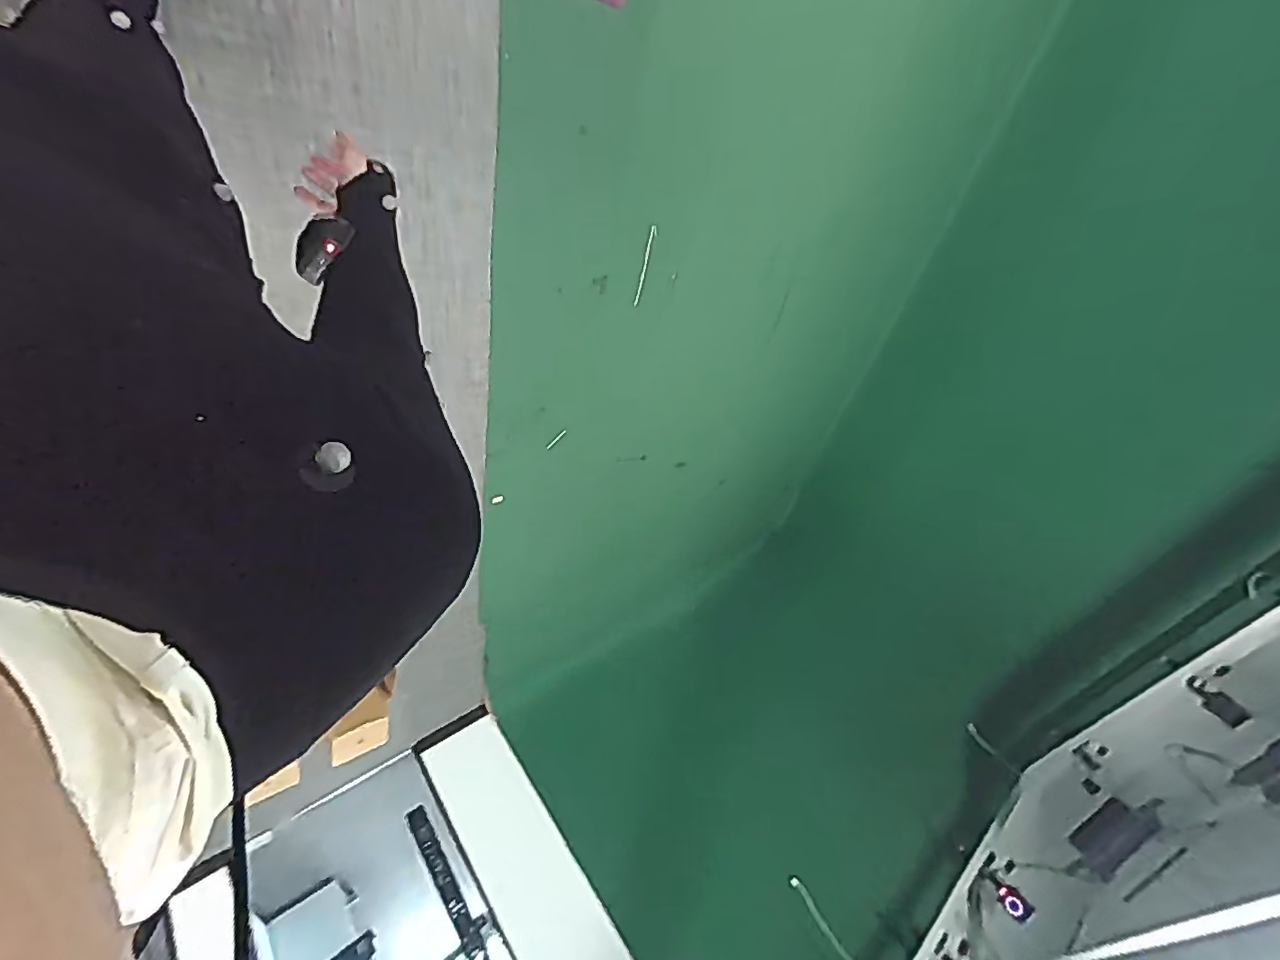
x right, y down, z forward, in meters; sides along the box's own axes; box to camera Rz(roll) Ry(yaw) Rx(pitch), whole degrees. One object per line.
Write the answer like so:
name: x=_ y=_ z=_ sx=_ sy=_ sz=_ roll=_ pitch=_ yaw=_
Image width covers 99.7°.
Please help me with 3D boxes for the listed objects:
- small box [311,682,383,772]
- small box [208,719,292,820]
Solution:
small box: x=-0.950 y=0.791 z=1.748 sx=0.168 sy=0.176 sz=0.179 roll=-13 pitch=136 yaw=-41
small box: x=-1.130 y=0.828 z=1.568 sx=0.168 sy=0.176 sz=0.179 roll=-13 pitch=137 yaw=-41
